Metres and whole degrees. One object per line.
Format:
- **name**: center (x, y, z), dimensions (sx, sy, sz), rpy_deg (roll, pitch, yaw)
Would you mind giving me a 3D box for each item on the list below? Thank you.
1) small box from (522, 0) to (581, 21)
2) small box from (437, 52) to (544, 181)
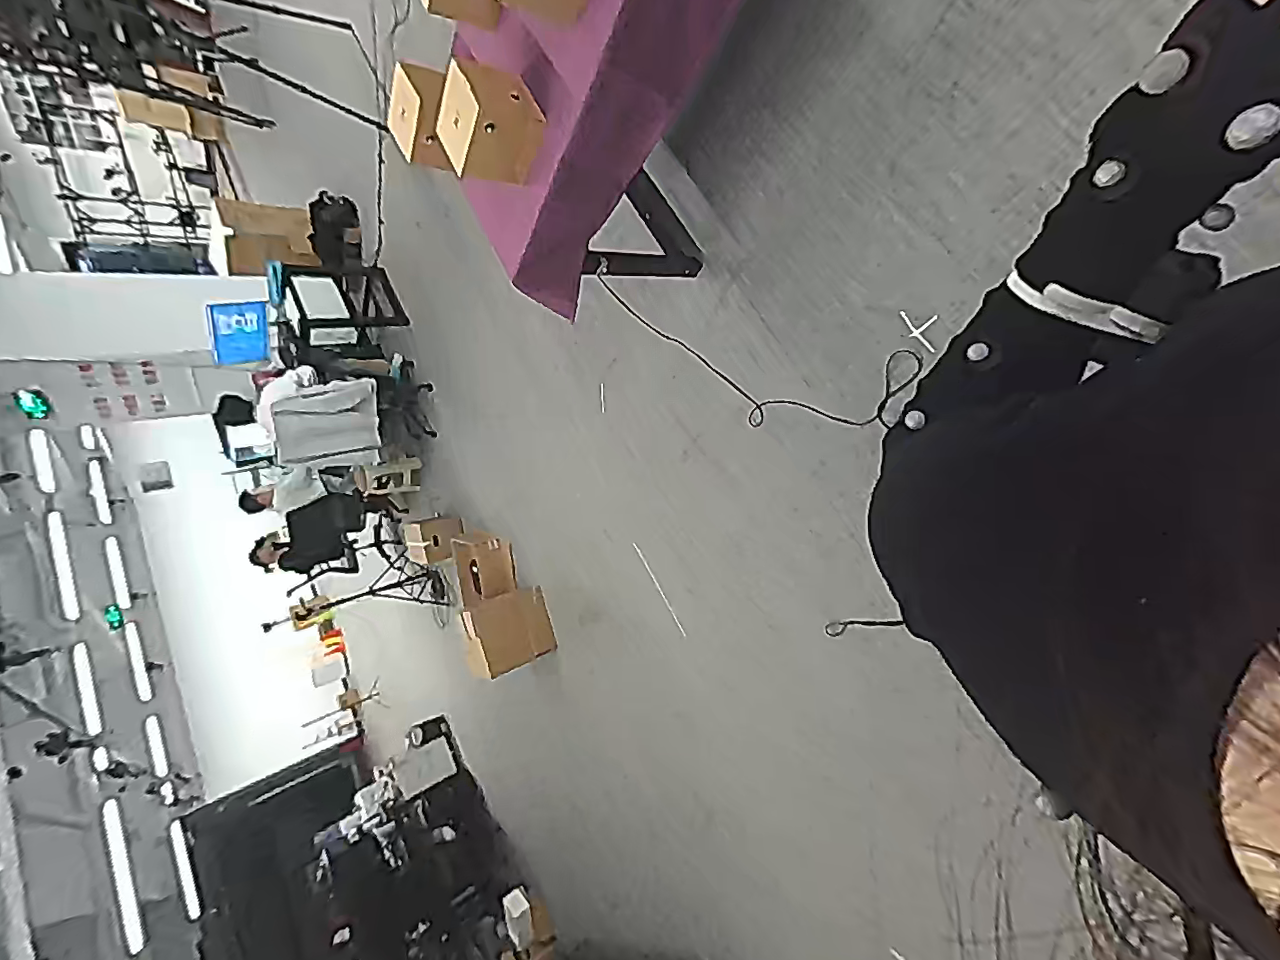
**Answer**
- **small box**: center (-0.188, -1.019, 1.009), dimensions (0.179, 0.176, 0.168), rpy_deg (-41, 71, 47)
- **small box**: center (-0.348, -0.835, 1.264), dimensions (0.179, 0.176, 0.168), rpy_deg (-43, 69, 47)
